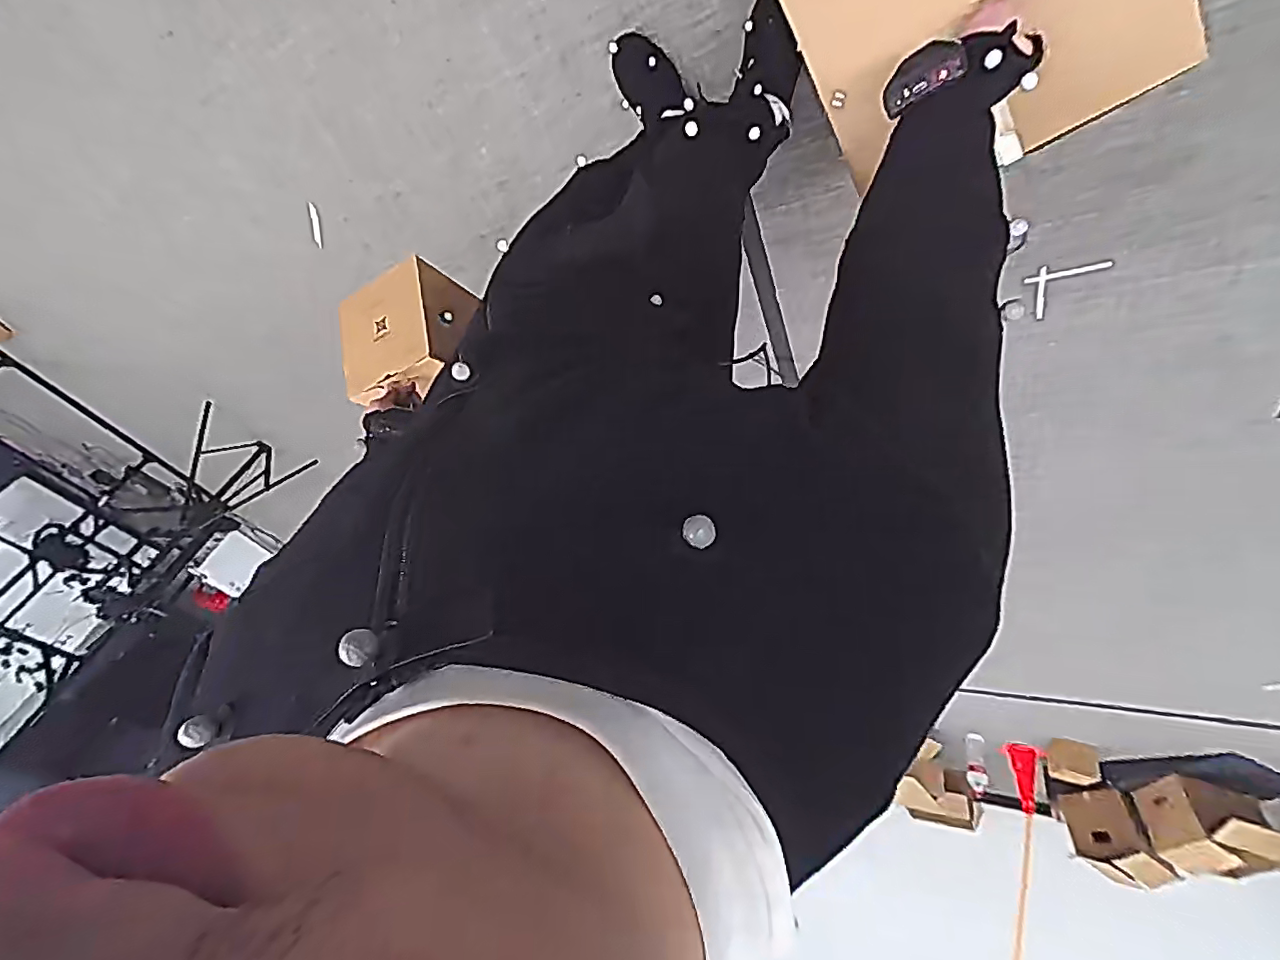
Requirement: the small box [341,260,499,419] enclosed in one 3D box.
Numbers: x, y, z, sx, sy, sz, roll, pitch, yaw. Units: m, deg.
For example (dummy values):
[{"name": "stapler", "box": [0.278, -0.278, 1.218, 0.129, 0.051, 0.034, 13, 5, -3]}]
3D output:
[{"name": "small box", "box": [-0.349, -0.212, 0.878, 0.168, 0.179, 0.176, -19, 163, 19]}]
